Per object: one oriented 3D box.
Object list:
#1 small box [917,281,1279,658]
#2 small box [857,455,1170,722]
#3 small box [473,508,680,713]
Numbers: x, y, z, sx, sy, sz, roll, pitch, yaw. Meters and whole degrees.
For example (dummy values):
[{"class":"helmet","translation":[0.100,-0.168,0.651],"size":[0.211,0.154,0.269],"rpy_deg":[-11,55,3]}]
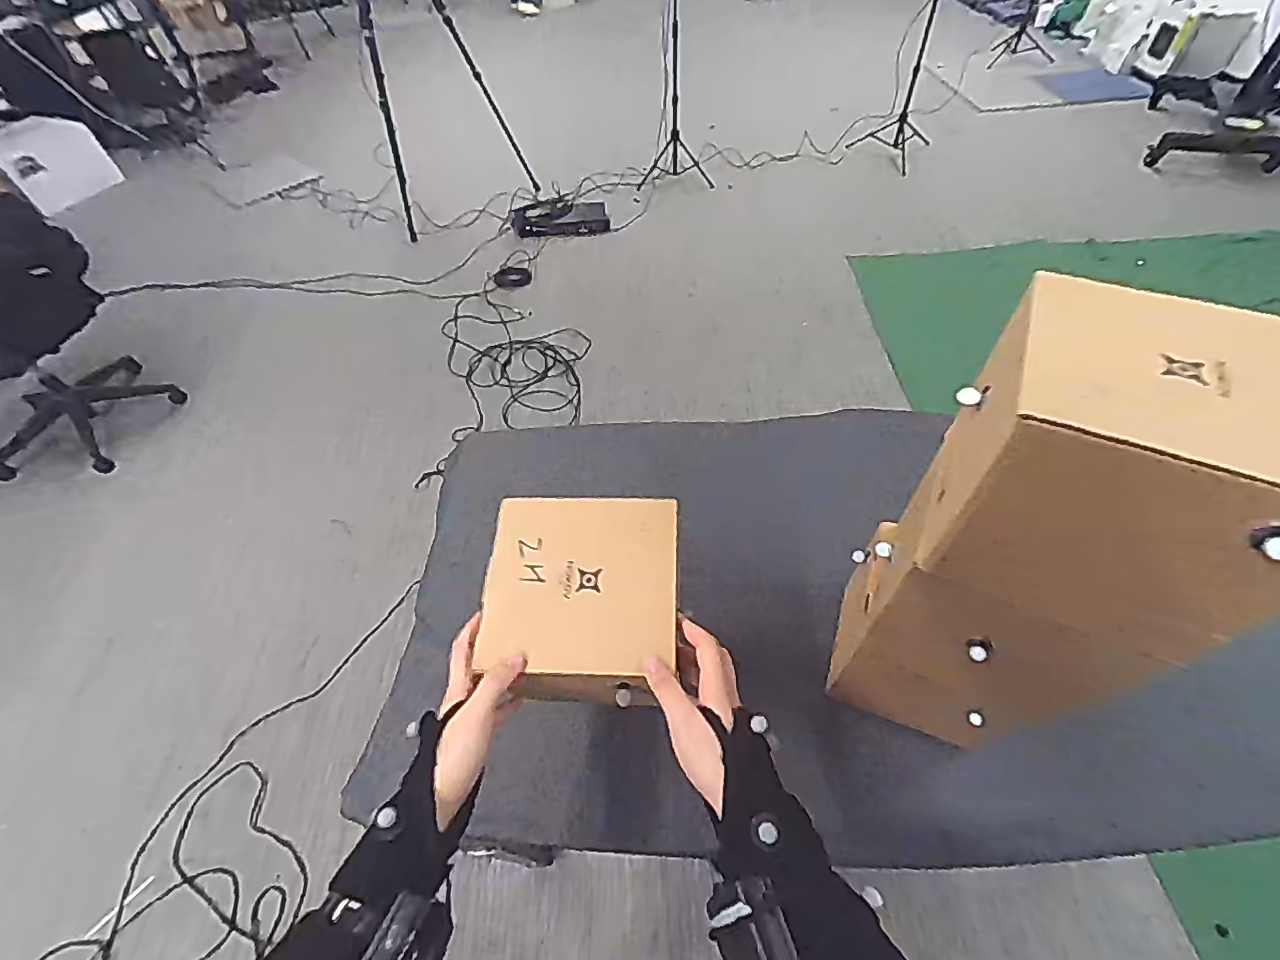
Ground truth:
[{"class":"small box","translation":[0.317,-0.006,0.372],"size":[0.179,0.176,0.168],"rpy_deg":[21,55,19]},{"class":"small box","translation":[0.328,0.097,0.498],"size":[0.179,0.176,0.168],"rpy_deg":[23,55,21]},{"class":"small box","translation":[-0.047,0.141,0.564],"size":[0.179,0.176,0.168],"rpy_deg":[0,59,5]}]
